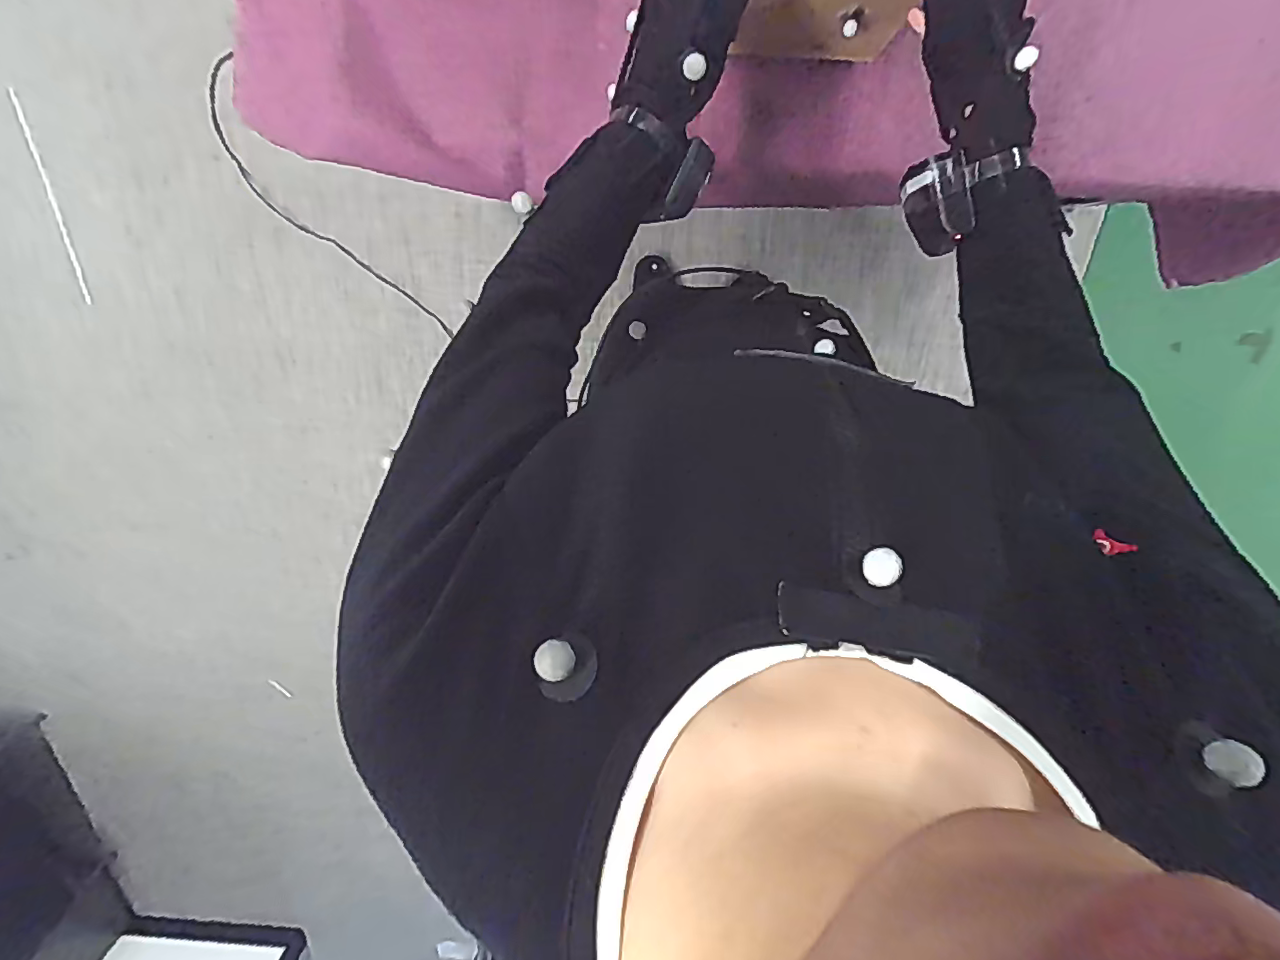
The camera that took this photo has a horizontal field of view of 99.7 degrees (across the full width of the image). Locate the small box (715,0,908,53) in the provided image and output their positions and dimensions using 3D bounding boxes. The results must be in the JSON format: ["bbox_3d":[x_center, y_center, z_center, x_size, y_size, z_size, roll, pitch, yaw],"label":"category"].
[{"bbox_3d":[0.155,-0.486,0.441,0.168,0.176,0.179,6,109,2],"label":"small box"}]
